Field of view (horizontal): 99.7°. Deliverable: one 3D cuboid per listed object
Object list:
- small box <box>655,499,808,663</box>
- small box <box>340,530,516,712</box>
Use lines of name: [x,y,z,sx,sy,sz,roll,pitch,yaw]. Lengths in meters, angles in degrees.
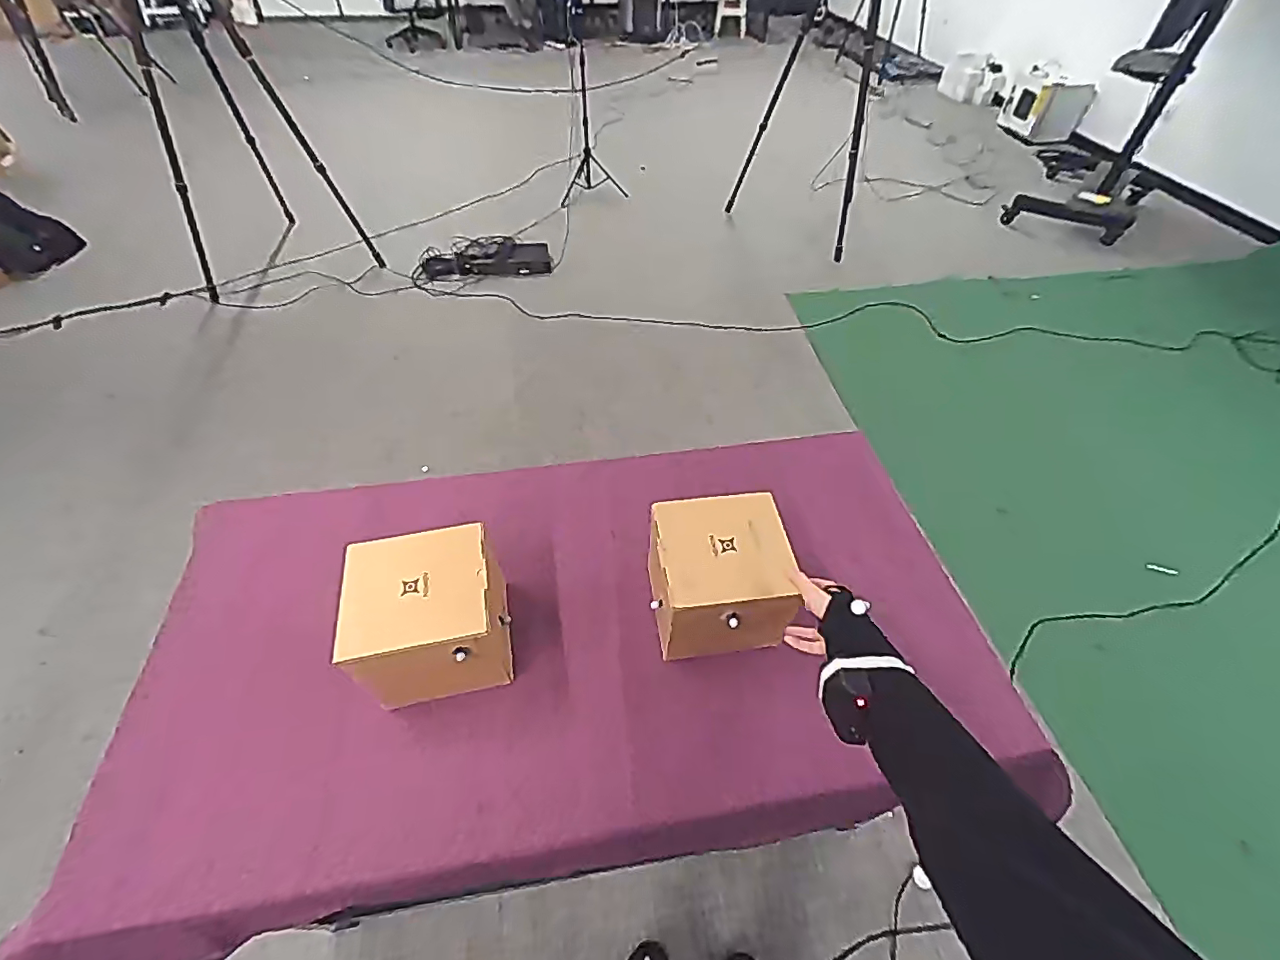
small box: [0.116,0.149,0.779,0.179,0.176,0.168,-5,50,-5]
small box: [-0.275,0.195,0.737,0.179,0.176,0.168,-9,49,-10]
